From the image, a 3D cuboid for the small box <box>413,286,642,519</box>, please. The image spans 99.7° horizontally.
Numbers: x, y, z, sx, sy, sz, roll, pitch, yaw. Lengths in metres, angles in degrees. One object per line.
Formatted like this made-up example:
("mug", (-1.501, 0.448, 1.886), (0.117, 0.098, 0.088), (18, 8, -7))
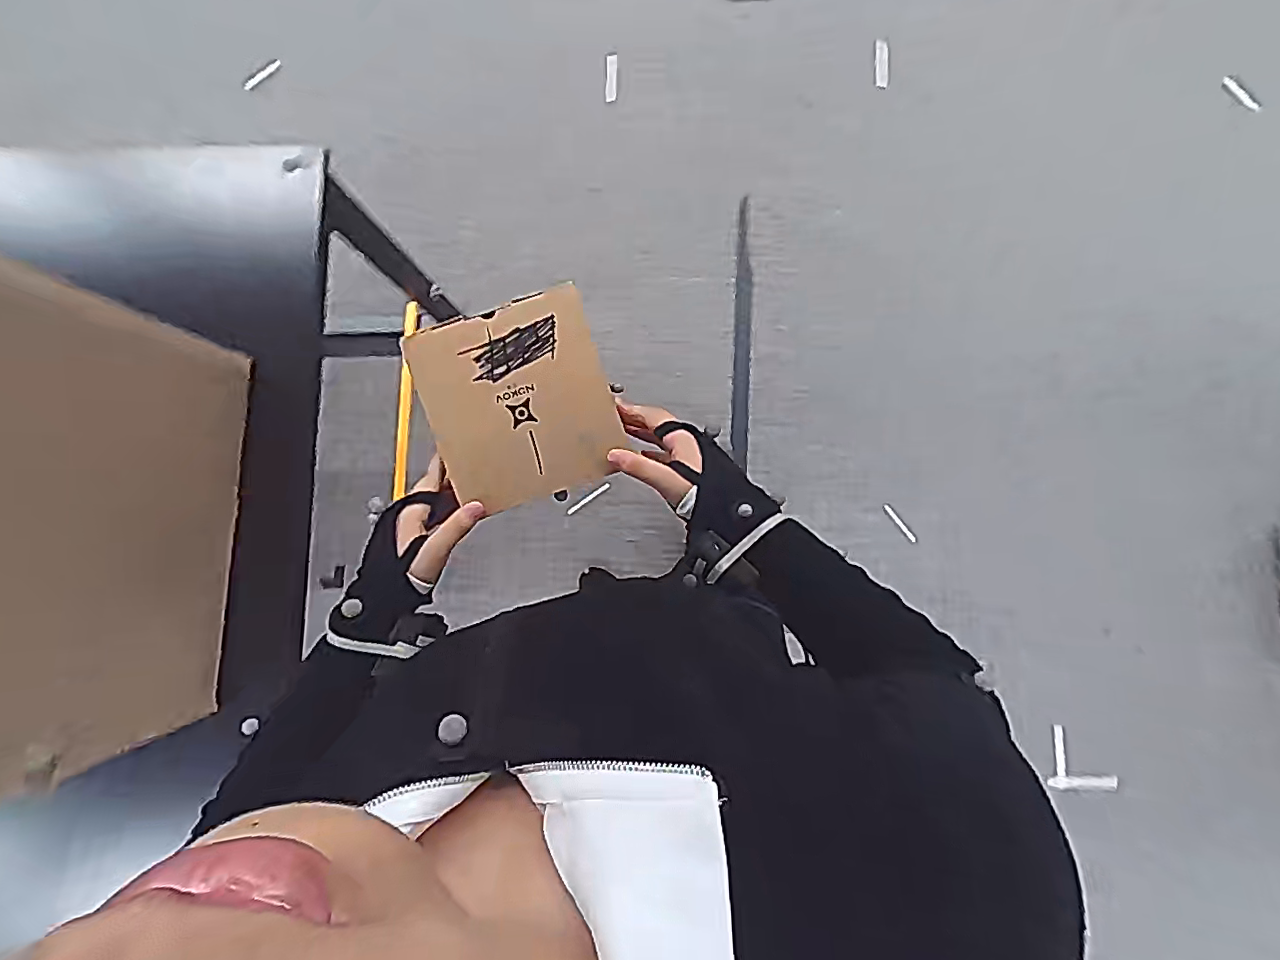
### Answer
("small box", (-0.105, -0.074, 0.562), (0.168, 0.176, 0.179), (-17, 96, -2))
